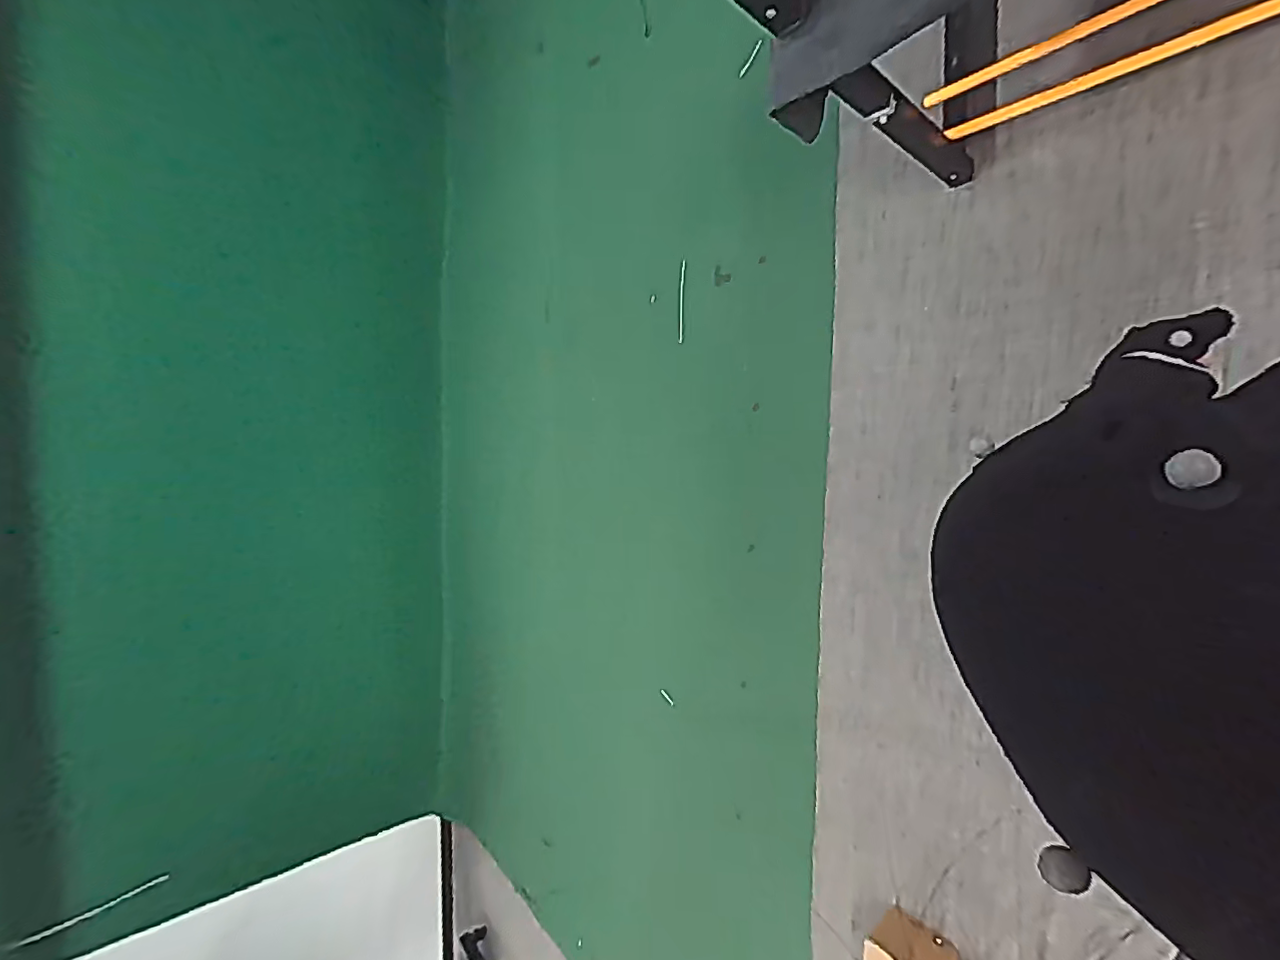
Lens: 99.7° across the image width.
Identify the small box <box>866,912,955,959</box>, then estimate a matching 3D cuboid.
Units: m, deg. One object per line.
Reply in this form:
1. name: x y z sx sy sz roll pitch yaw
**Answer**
1. small box: 0.711 1.307 1.426 0.168 0.176 0.179 8 97 49
